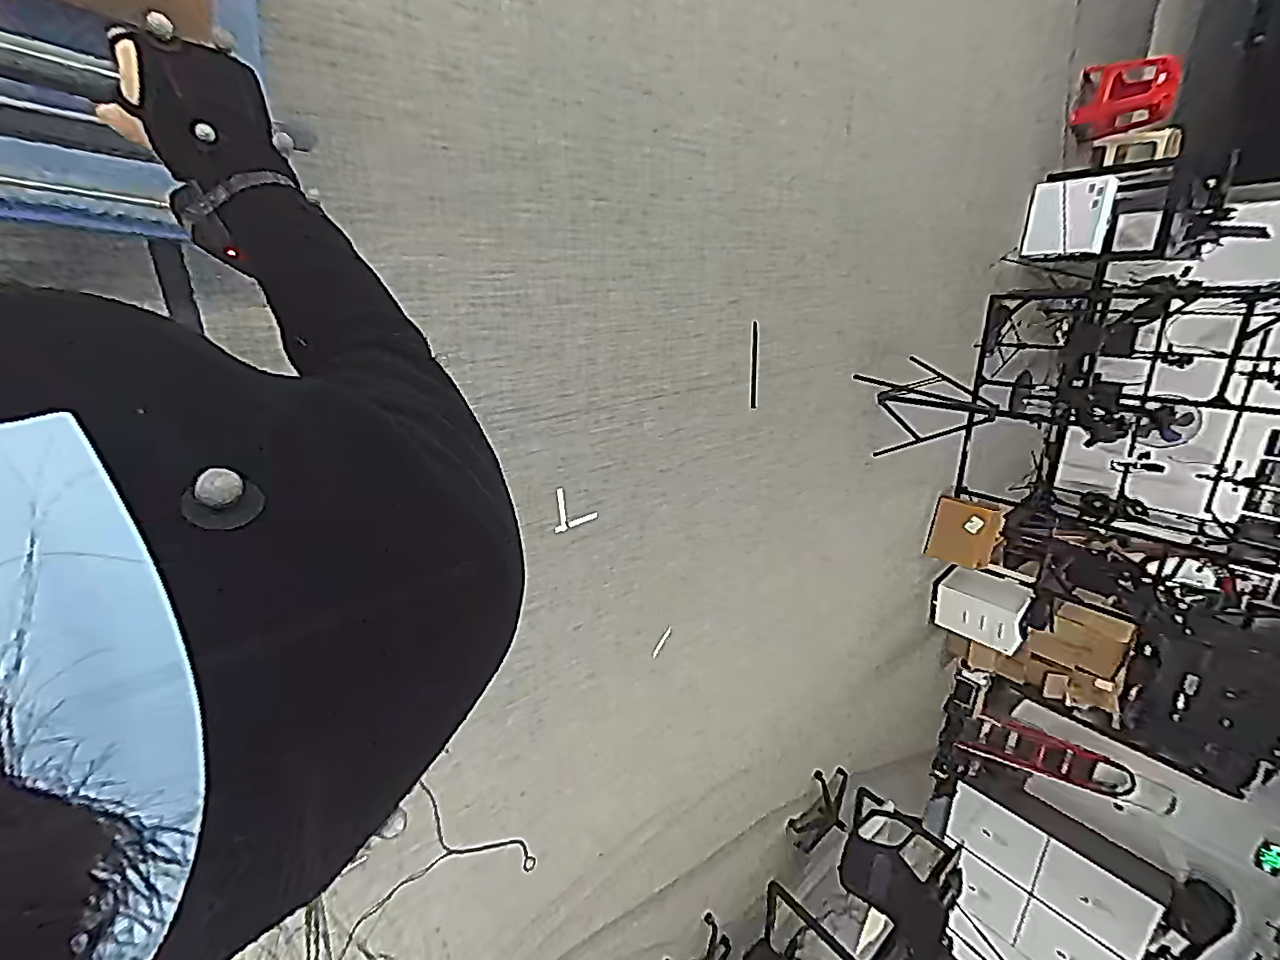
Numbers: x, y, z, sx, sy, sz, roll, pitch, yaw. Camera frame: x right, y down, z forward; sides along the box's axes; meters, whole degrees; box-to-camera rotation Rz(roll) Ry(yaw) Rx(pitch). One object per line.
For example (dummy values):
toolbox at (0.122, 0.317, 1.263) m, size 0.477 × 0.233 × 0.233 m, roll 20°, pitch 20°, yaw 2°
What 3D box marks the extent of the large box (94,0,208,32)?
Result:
large box at (-0.789, -0.836, 0.644) m, size 0.408 × 0.320 × 0.320 m, roll -7°, pitch 109°, yaw -38°
